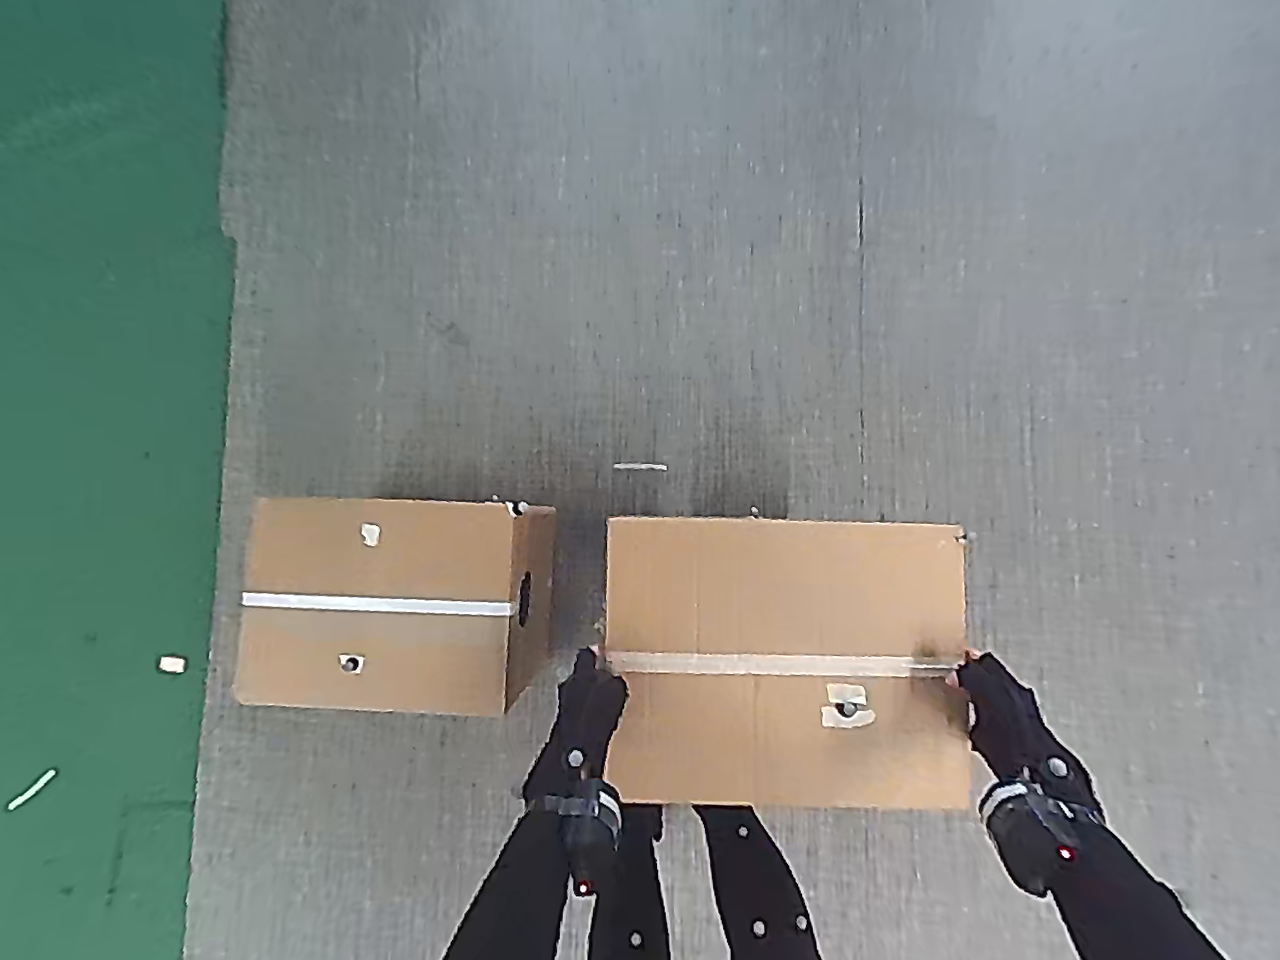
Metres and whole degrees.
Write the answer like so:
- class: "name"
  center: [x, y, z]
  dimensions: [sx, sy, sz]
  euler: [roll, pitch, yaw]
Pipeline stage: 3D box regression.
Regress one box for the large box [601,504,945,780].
- class: "large box"
  center: [0.150, 0.198, 0.773]
  dimensions: [0.408, 0.320, 0.320]
  euler: [2, 87, -2]
